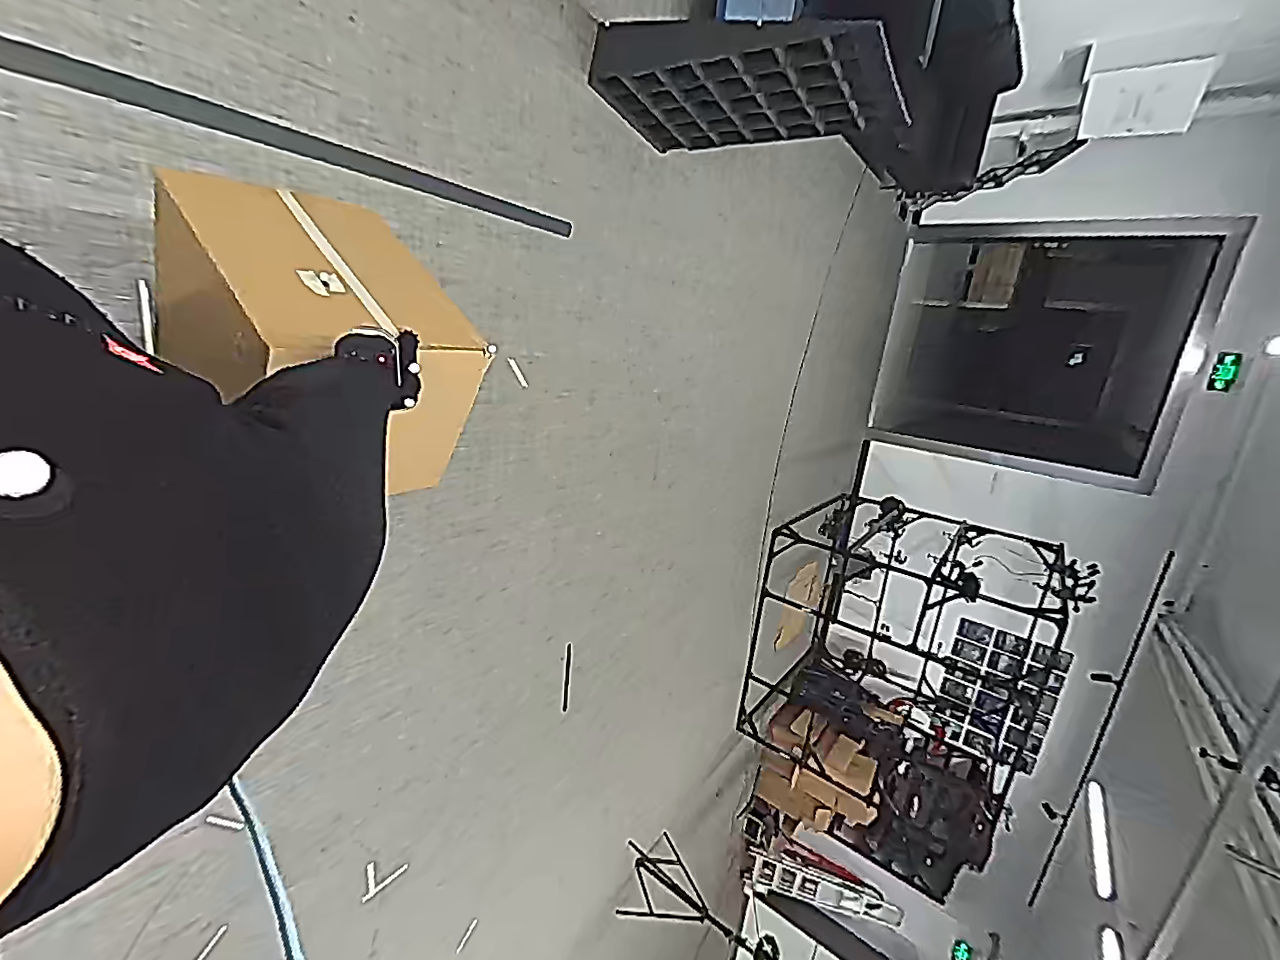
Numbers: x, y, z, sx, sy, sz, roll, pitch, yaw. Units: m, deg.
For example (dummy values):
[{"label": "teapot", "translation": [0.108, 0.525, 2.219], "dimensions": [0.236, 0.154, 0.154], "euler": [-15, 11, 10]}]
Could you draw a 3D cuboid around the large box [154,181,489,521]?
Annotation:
[{"label": "large box", "translation": [-0.532, -0.203, 0.890], "dimensions": [0.320, 0.408, 0.320], "euler": [-18, 150, -51]}]
